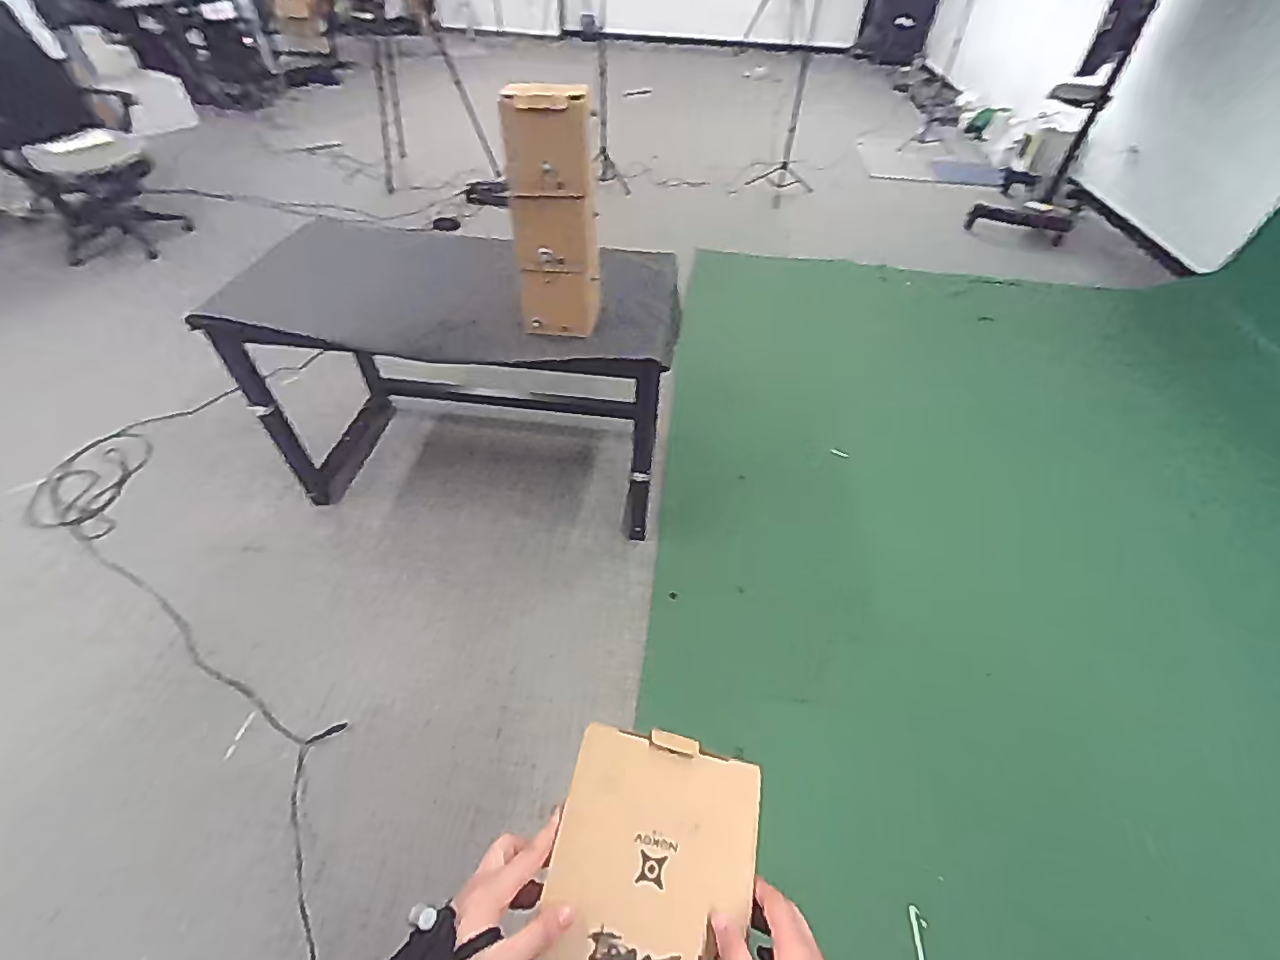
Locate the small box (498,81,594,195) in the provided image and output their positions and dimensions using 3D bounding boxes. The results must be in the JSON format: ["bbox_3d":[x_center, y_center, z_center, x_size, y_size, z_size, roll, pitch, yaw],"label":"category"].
[{"bbox_3d":[-0.183,-0.706,1.115,0.168,0.176,0.179,0,45,0],"label":"small box"}]

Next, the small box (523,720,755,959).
[{"bbox_3d":[-0.001,0.352,0.506,0.168,0.176,0.179,13,54,2],"label":"small box"}]

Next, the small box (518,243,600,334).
[{"bbox_3d":[-0.193,-0.483,1.355,0.168,0.176,0.179,6,44,3],"label":"small box"}]

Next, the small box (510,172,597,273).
[{"bbox_3d":[-0.189,-0.595,1.238,0.168,0.176,0.179,2,46,1],"label":"small box"}]
